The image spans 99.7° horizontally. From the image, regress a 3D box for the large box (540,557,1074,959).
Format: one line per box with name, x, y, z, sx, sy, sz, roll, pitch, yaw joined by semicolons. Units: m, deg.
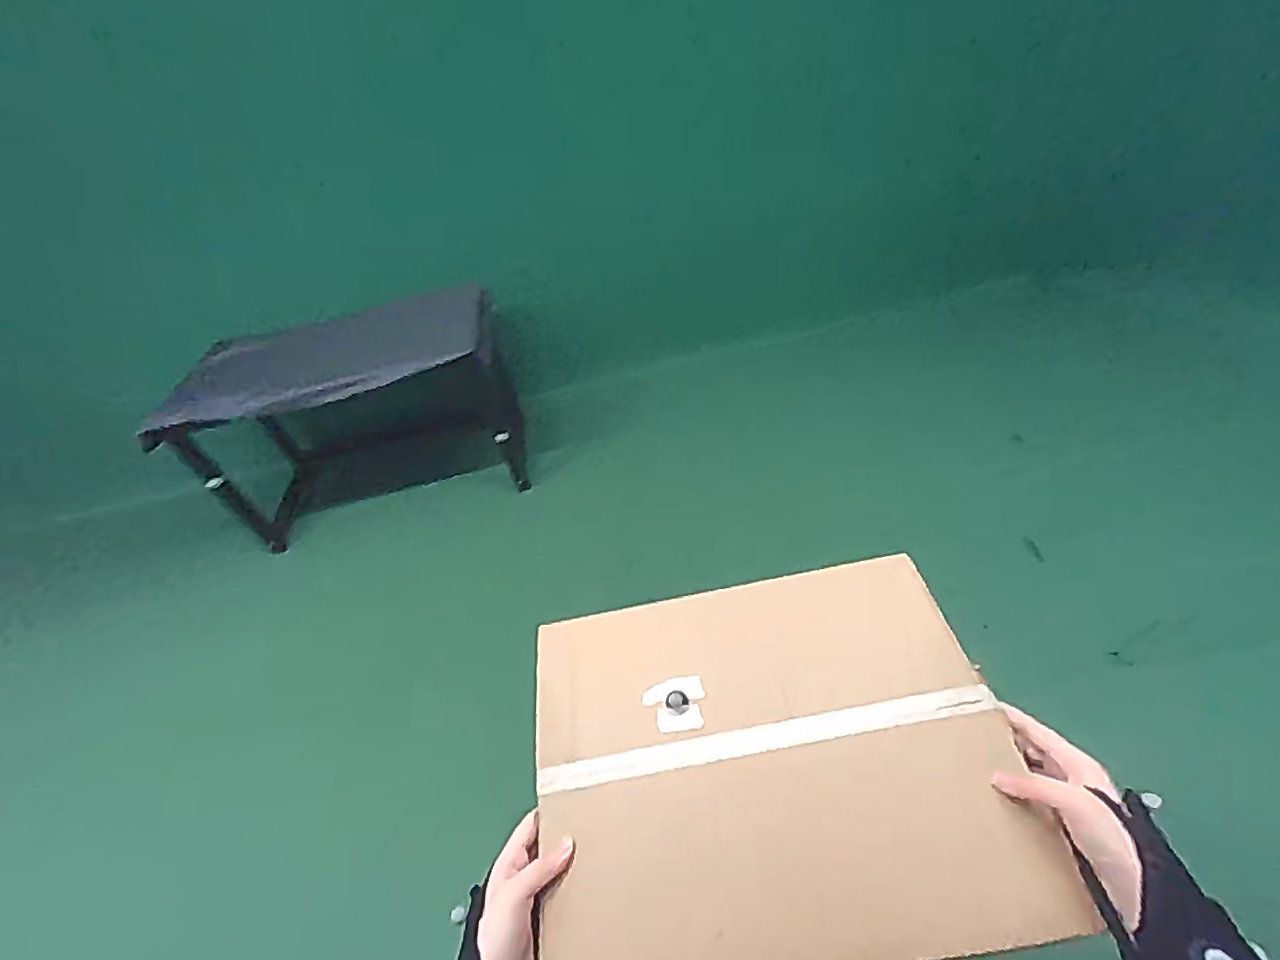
large box;0.133;0.334;0.605;0.408;0.320;0.320;-13;48;4
